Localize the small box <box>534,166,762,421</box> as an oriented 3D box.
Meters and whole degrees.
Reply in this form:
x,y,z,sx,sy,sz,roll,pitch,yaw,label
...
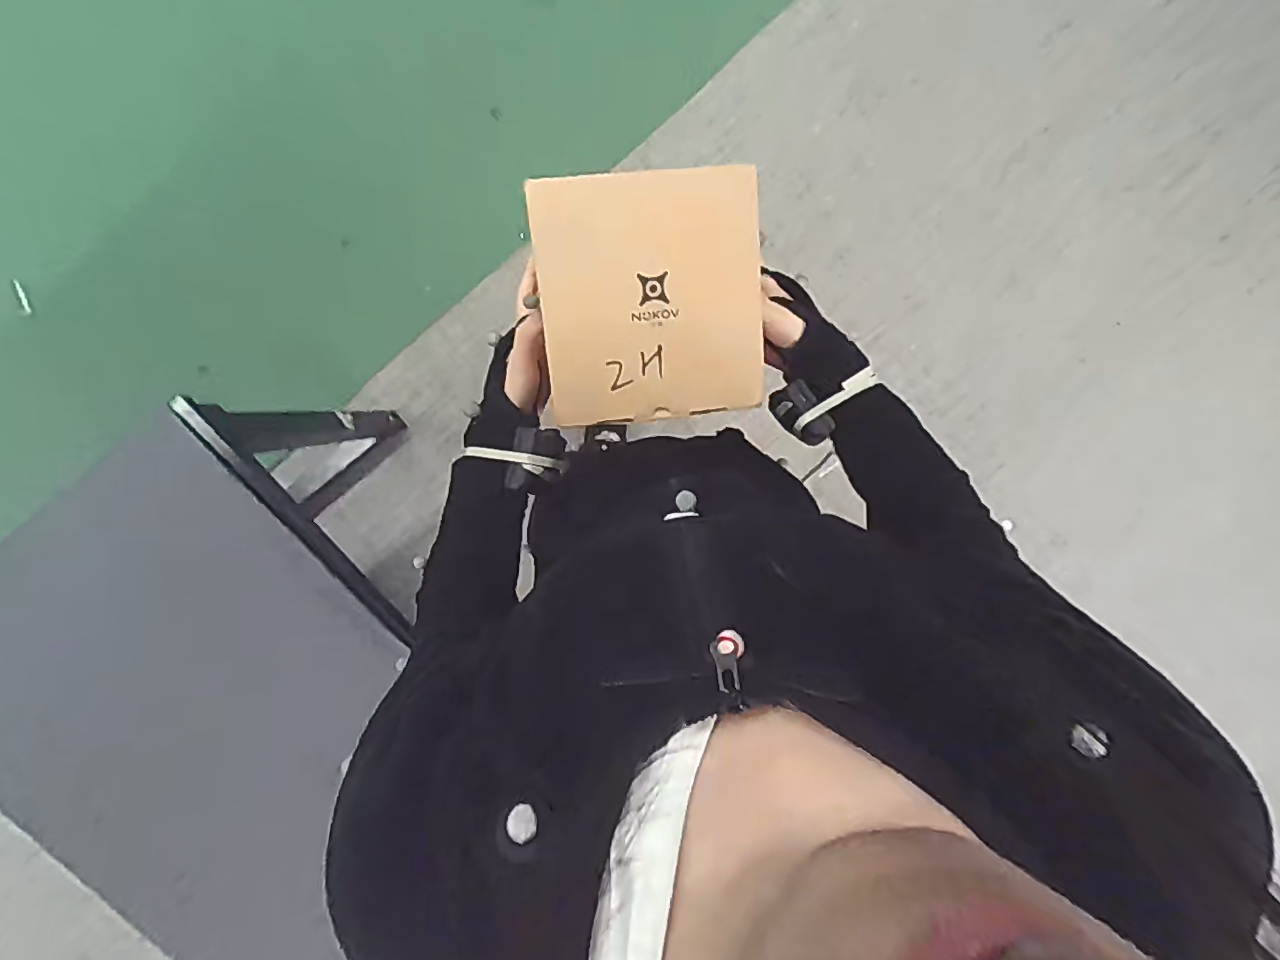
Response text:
x,y,z,sx,sy,sz,roll,pitch,yaw,label
0.002,-0.154,0.479,0.168,0.176,0.179,-6,105,-4,small box
